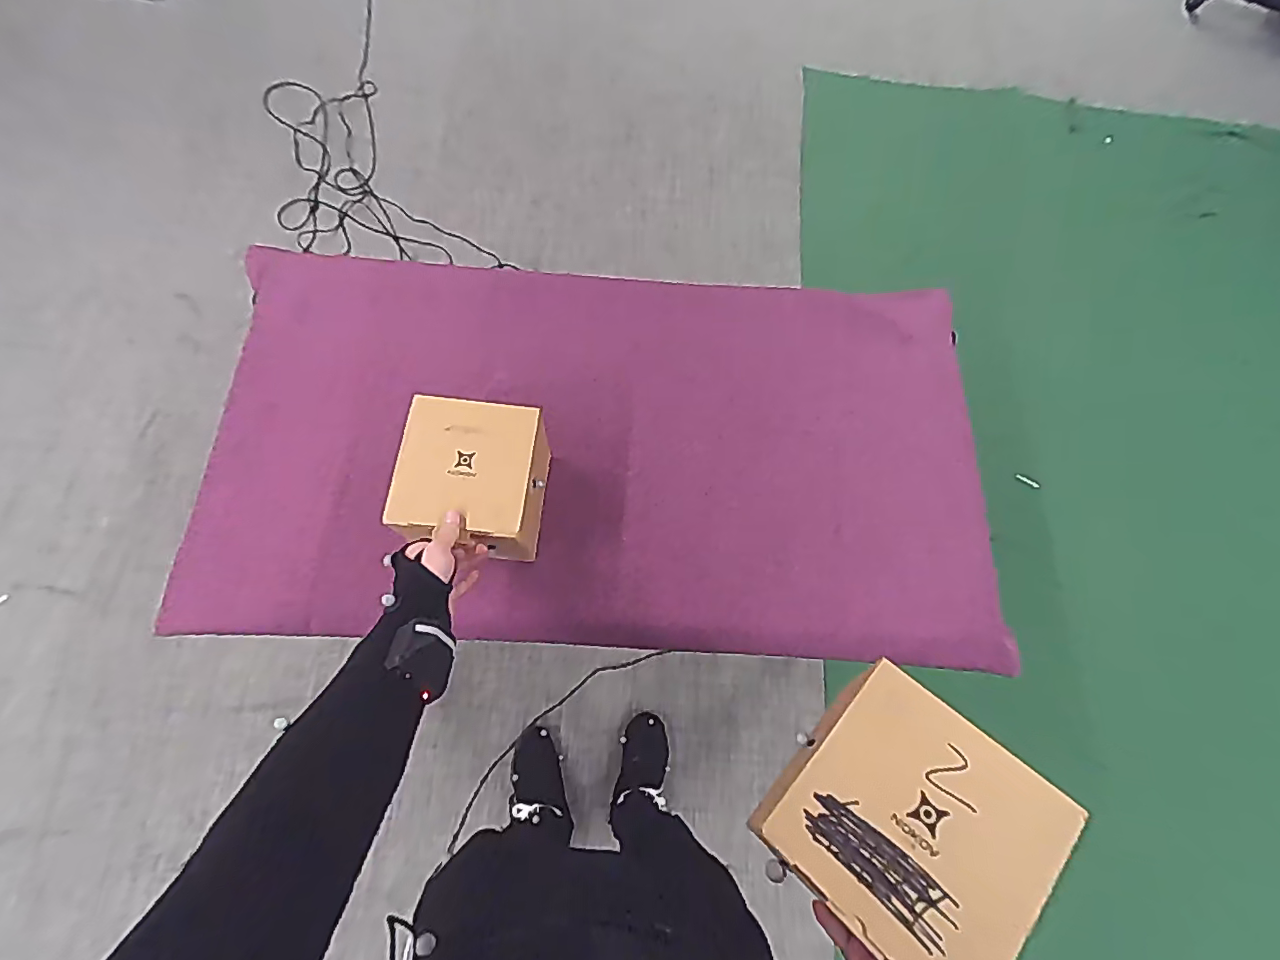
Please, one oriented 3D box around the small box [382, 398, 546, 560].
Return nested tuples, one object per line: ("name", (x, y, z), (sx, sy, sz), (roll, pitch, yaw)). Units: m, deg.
("small box", (-0.229, 0.009, 0.756), (0.168, 0.176, 0.179), (7, 70, -3))
